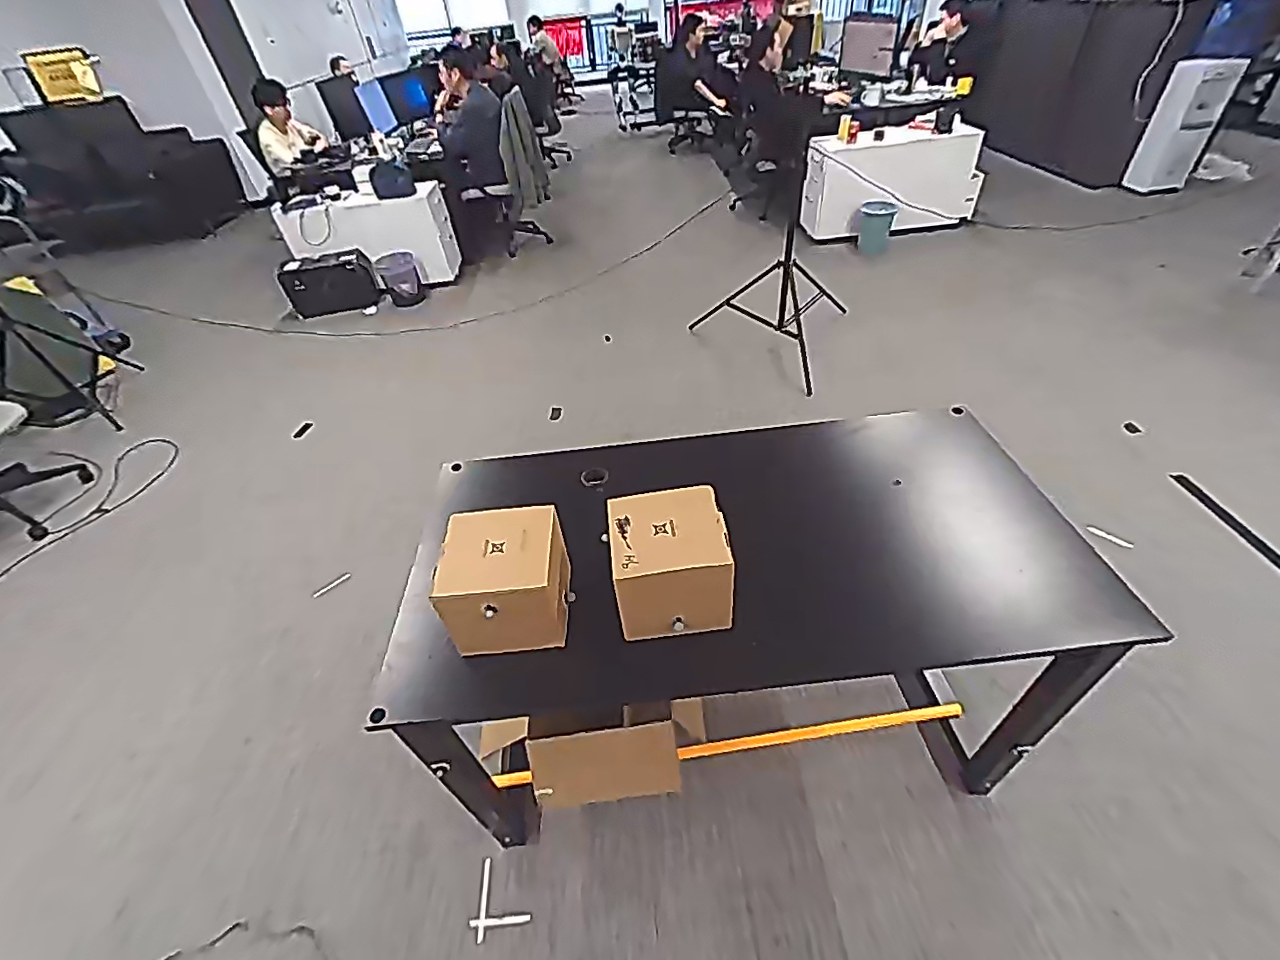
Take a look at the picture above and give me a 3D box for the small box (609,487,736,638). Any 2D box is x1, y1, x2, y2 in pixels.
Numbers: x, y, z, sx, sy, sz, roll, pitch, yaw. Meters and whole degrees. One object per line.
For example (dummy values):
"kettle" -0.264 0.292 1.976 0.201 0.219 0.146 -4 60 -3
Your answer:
"small box" 0.048 0.135 0.874 0.179 0.176 0.168 -7 42 -1

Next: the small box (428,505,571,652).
"small box" -0.214 0.163 0.877 0.179 0.176 0.168 -6 43 0
